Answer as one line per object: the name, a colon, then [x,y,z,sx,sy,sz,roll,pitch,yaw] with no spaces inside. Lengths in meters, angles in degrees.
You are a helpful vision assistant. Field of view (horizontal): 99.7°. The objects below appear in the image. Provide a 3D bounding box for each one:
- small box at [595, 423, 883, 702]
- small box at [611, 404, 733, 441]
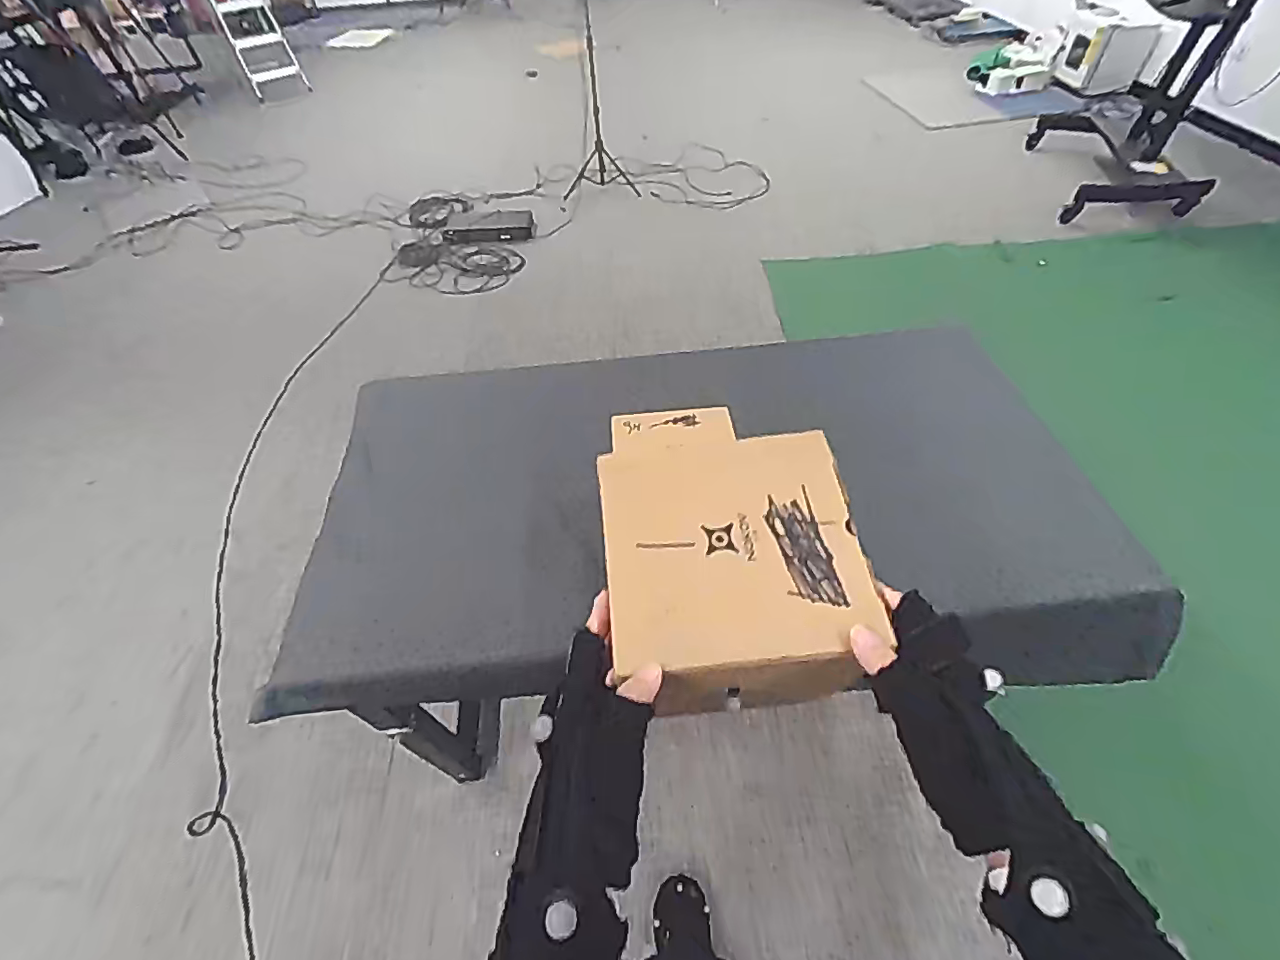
small box: [0.061,0.075,0.440,0.179,0.176,0.168,-6,59,-1]
small box: [0.051,0.018,0.765,0.168,0.176,0.179,-5,51,0]
